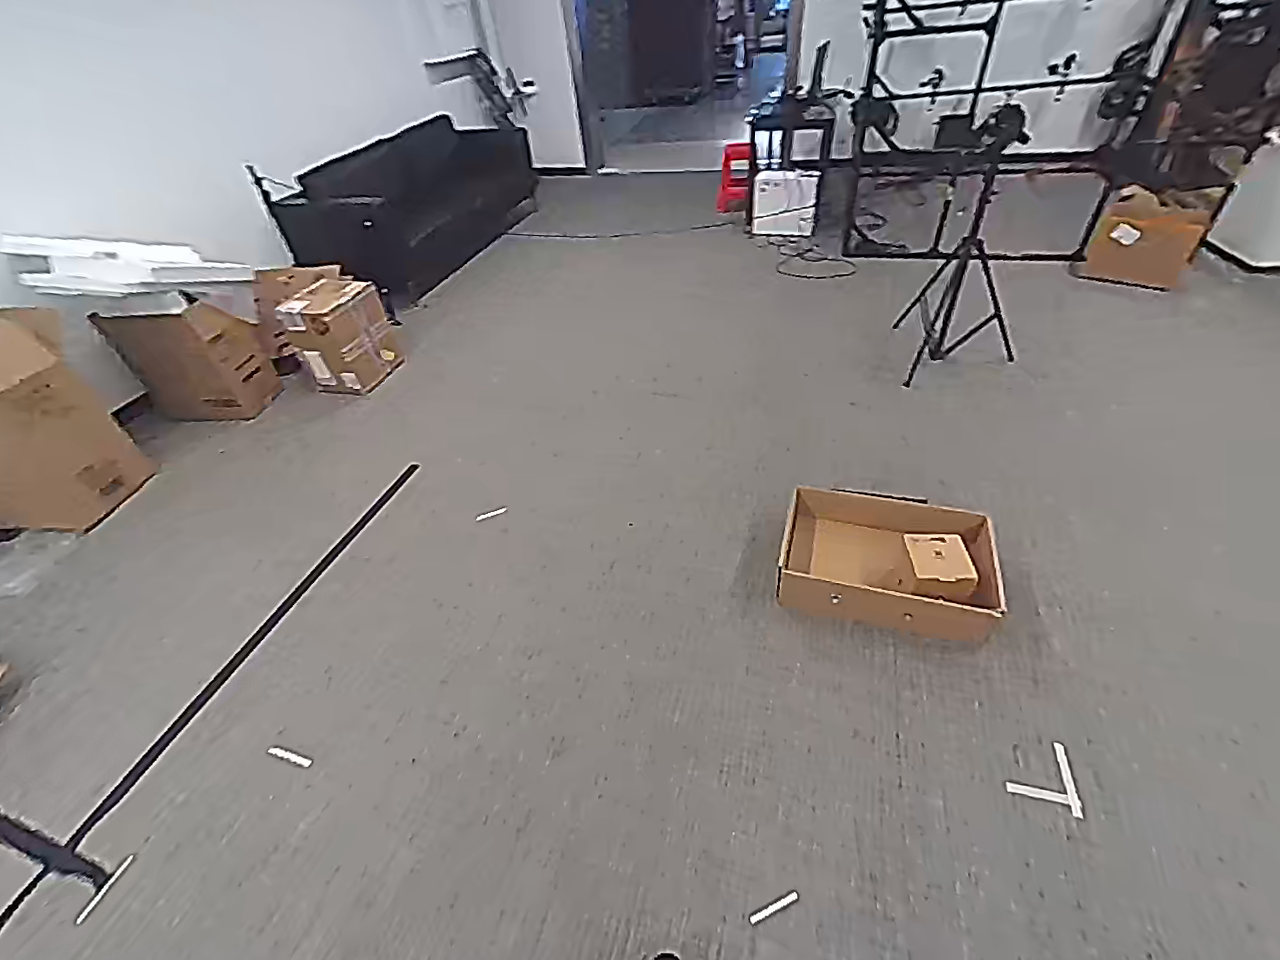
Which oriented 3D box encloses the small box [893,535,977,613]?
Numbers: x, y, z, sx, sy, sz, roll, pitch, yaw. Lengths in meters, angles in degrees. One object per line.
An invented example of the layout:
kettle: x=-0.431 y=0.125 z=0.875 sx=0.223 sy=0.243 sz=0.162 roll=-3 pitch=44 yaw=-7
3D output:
small box: x=0.892 y=0.289 z=1.650 sx=0.168 sy=0.176 sz=0.179 roll=0 pitch=42 yaw=8
